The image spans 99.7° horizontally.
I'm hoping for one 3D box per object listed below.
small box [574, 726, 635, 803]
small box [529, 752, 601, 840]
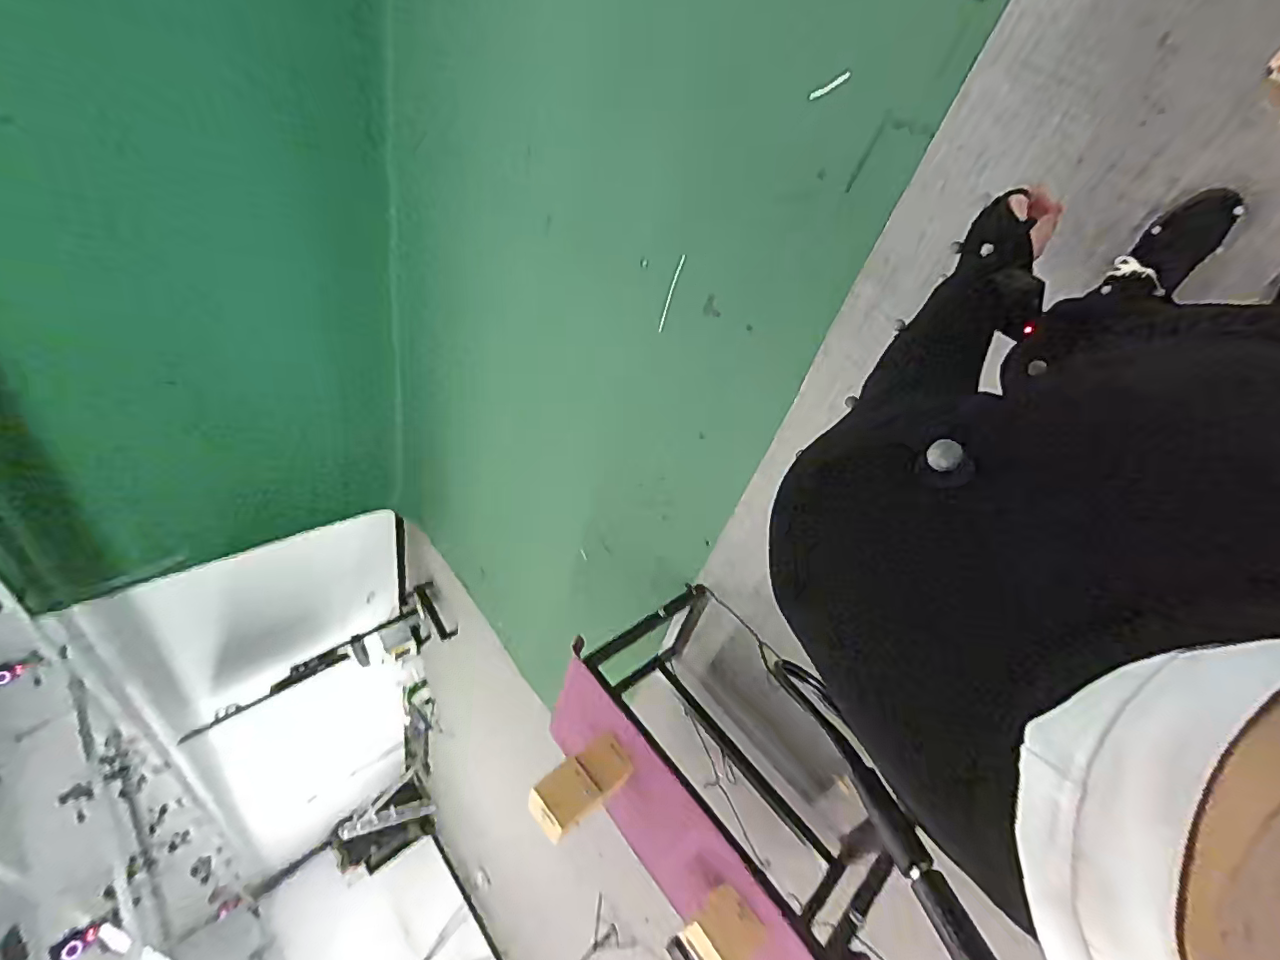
[{"bbox_3d":[-0.142,1.033,1.957,0.168,0.176,0.179,44,135,25],"label":"small box"},{"bbox_3d":[-0.253,1.069,1.841,0.168,0.176,0.179,42,136,26],"label":"small box"}]
